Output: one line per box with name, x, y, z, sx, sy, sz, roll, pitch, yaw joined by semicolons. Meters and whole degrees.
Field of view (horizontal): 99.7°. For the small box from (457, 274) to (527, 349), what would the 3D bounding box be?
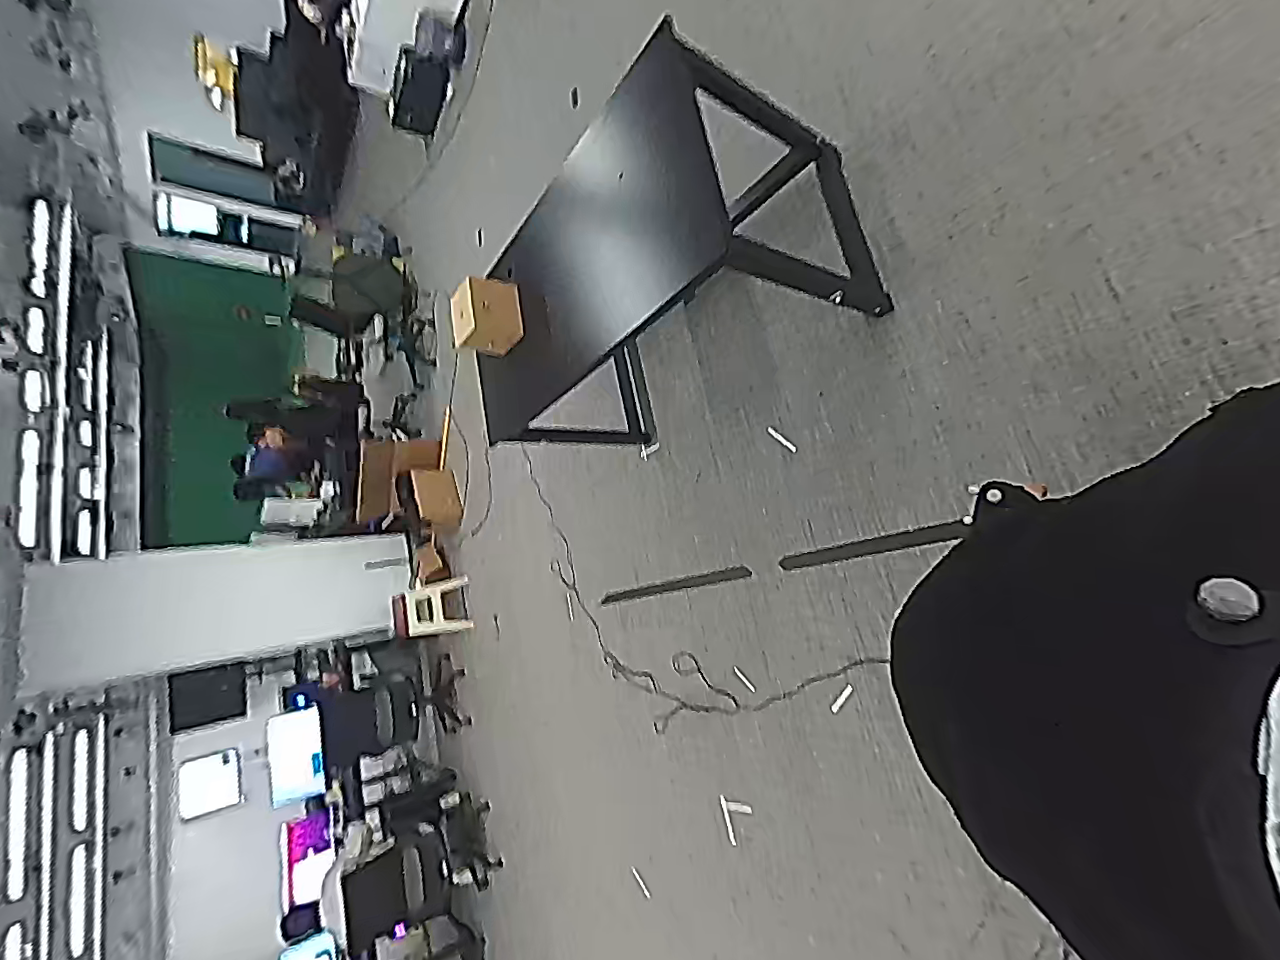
small box;-0.483;-0.544;1.776;0.168;0.176;0.179;-21;74;49
